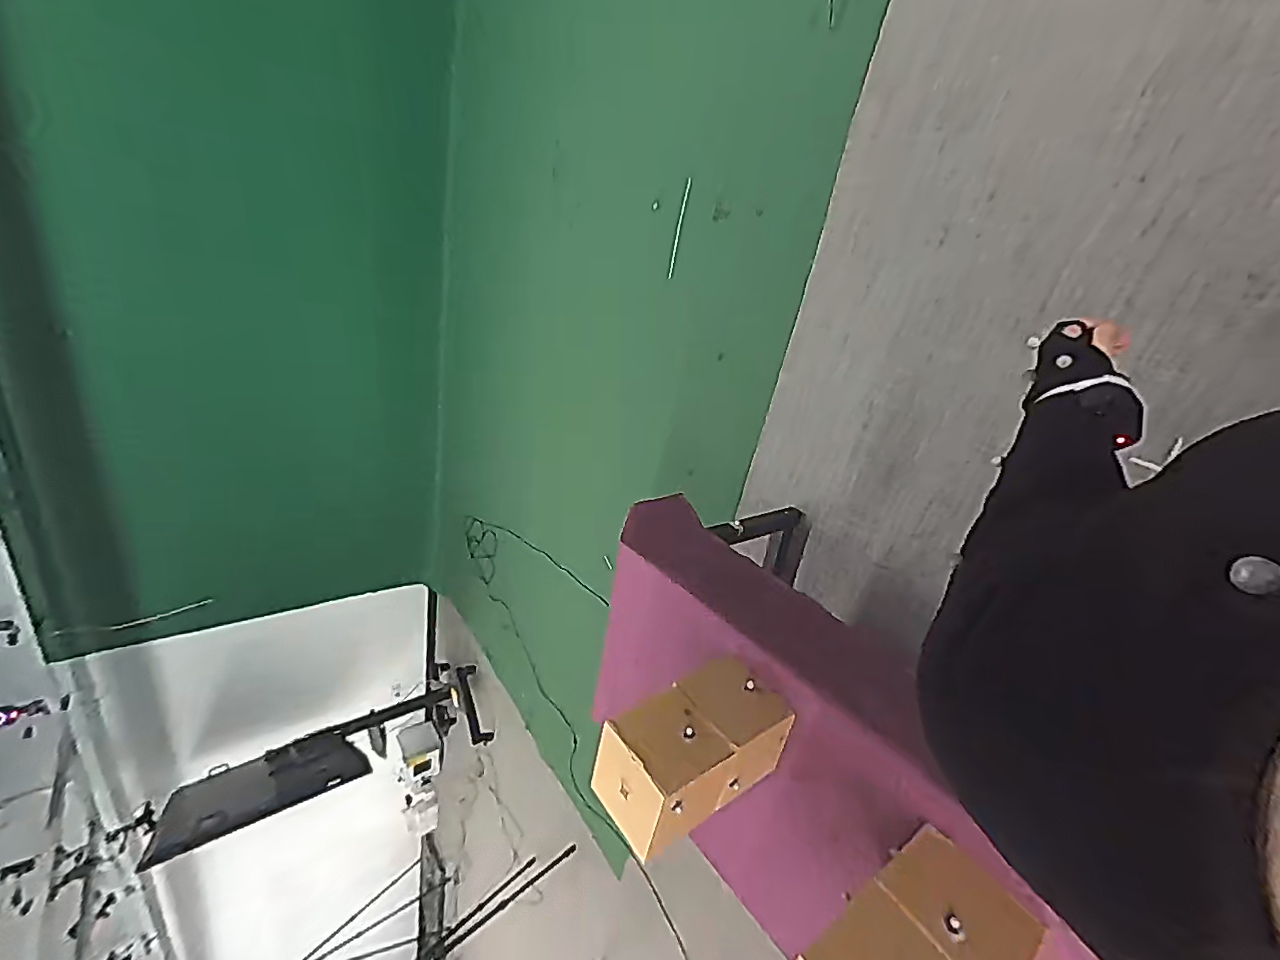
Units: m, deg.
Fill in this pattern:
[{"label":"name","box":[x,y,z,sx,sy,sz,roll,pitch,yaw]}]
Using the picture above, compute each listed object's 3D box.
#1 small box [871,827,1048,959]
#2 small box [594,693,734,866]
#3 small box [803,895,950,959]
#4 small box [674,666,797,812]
[{"label":"small box","box":[0.428,0.648,0.765,0.179,0.176,0.168,36,123,43]},{"label":"small box","box":[0.042,0.518,0.958,0.168,0.176,0.179,35,122,42]},{"label":"small box","box":[0.297,0.666,0.668,0.179,0.176,0.168,35,122,42]},{"label":"small box","box":[0.170,0.489,1.057,0.179,0.176,0.168,35,123,43]}]
